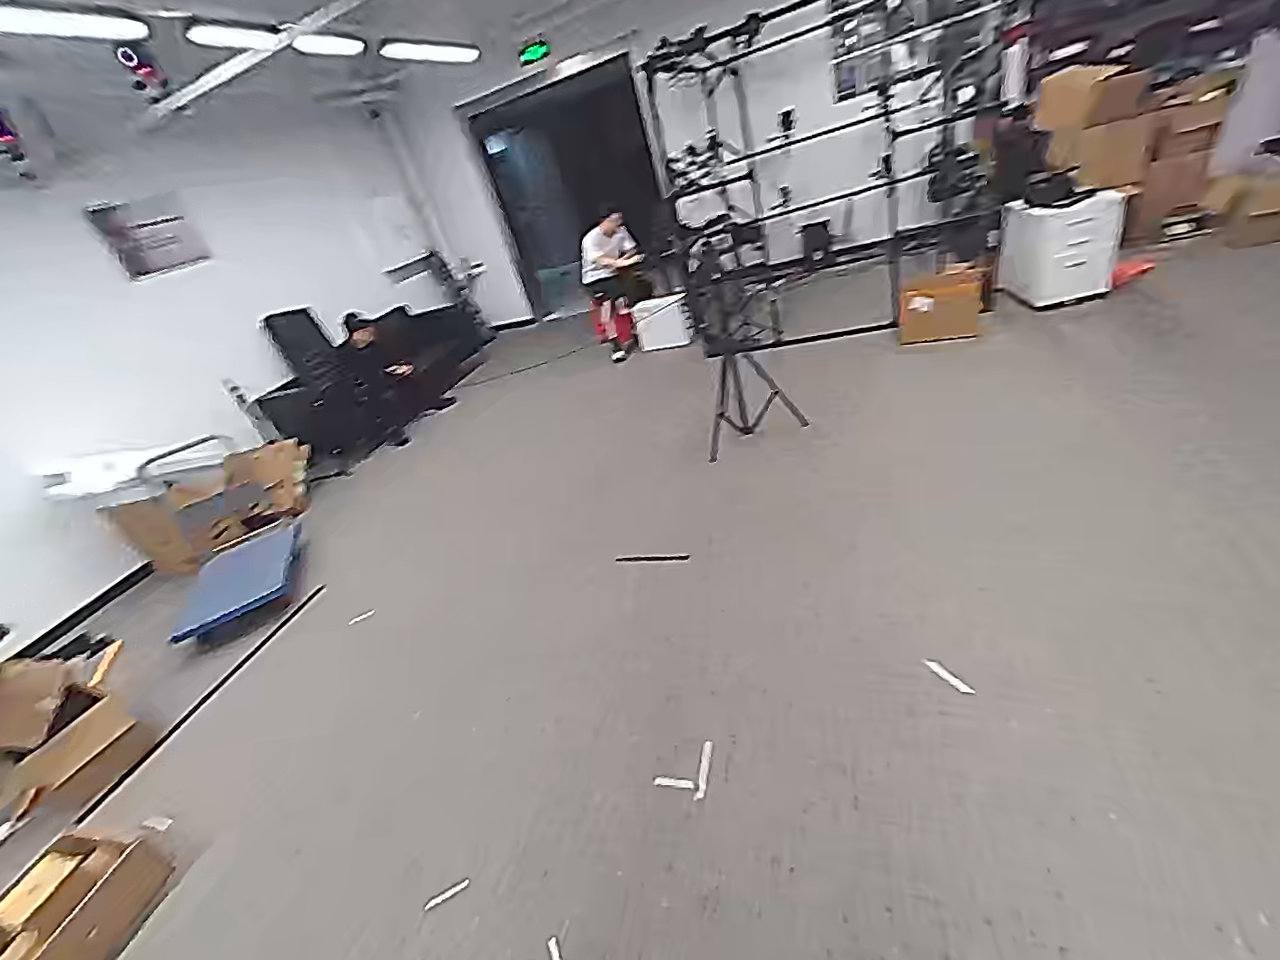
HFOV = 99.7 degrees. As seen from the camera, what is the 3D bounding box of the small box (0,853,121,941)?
[{"bbox_3d":[-1.824,1.317,1.706,0.179,0.176,0.168,-7,33,19],"label":"small box"}]
